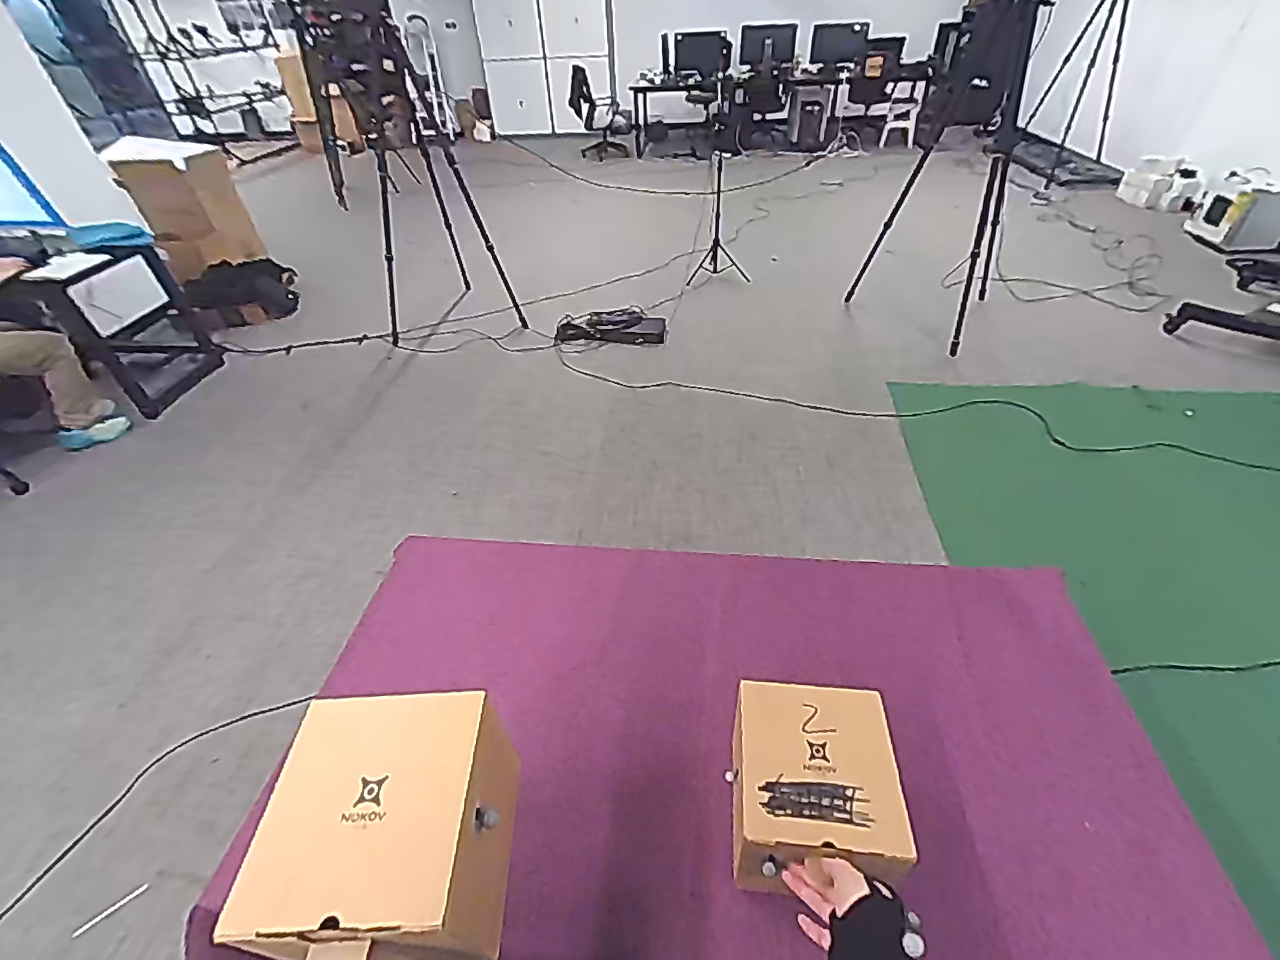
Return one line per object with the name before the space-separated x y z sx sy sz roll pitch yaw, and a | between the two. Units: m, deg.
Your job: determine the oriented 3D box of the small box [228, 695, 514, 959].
small box | -0.223 0.327 0.511 0.168 0.176 0.179 -3 43 0
